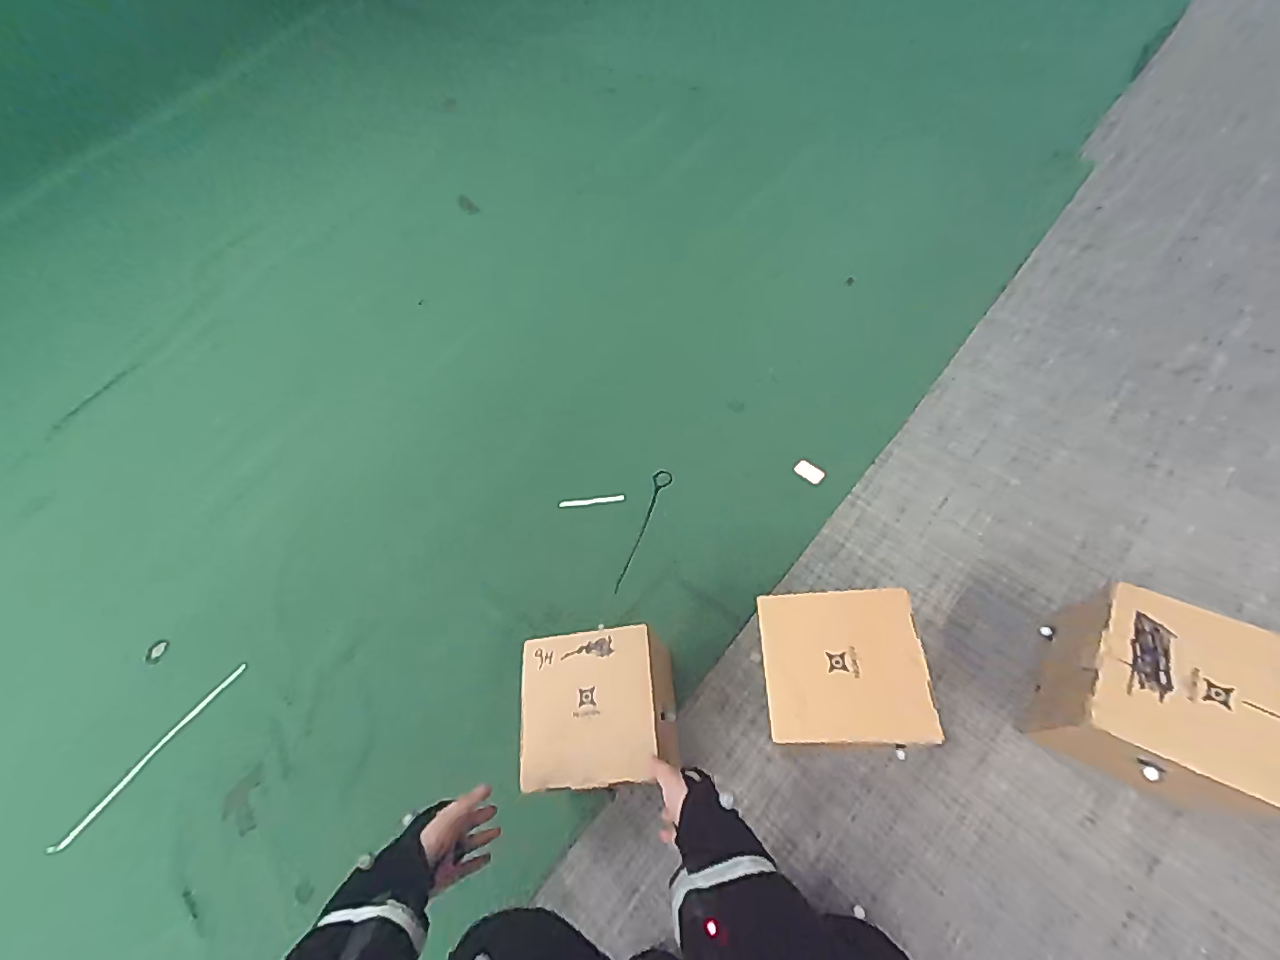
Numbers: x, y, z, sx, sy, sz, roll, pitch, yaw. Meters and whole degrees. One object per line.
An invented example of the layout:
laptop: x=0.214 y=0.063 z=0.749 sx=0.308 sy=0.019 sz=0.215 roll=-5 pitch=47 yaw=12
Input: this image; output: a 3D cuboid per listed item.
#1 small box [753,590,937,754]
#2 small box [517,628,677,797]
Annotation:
small box: x=0.240 y=0.247 z=0.677 sx=0.179 sy=0.176 sz=0.168 roll=-6 pitch=60 yaw=10
small box: x=-0.050 y=0.308 z=0.713 sx=0.168 sy=0.176 sz=0.179 roll=-10 pitch=60 yaw=8
